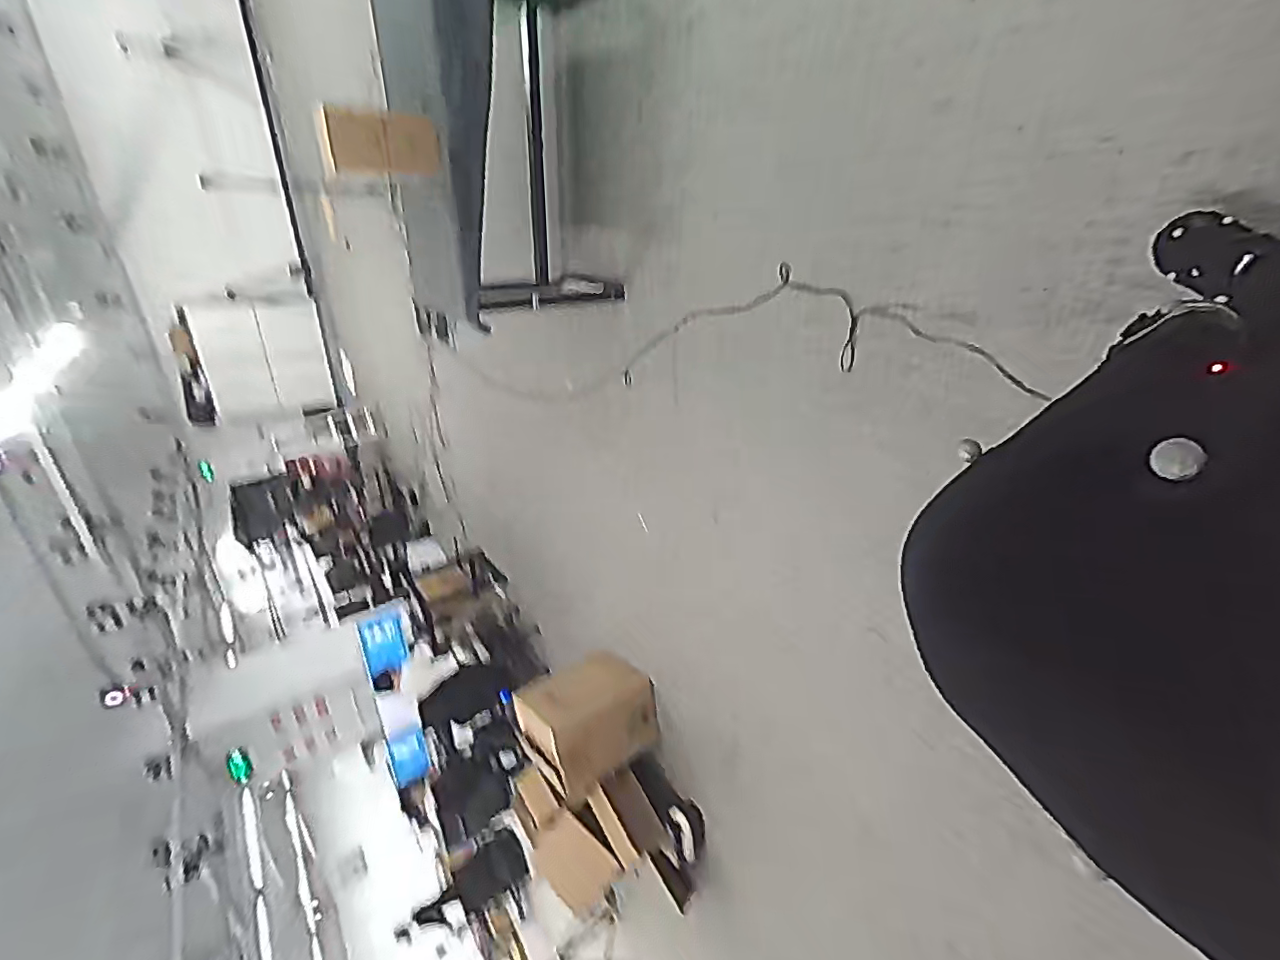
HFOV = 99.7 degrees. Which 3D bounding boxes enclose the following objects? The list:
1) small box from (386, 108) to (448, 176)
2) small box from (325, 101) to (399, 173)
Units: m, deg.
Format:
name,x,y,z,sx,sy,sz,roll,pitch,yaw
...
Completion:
name,x,y,z,sx,sy,sz,roll,pitch,yaw
small box,-0.767,-1.143,1.835,0.168,0.176,0.179,38,133,45
small box,-0.895,-1.102,1.746,0.168,0.176,0.179,34,130,45
